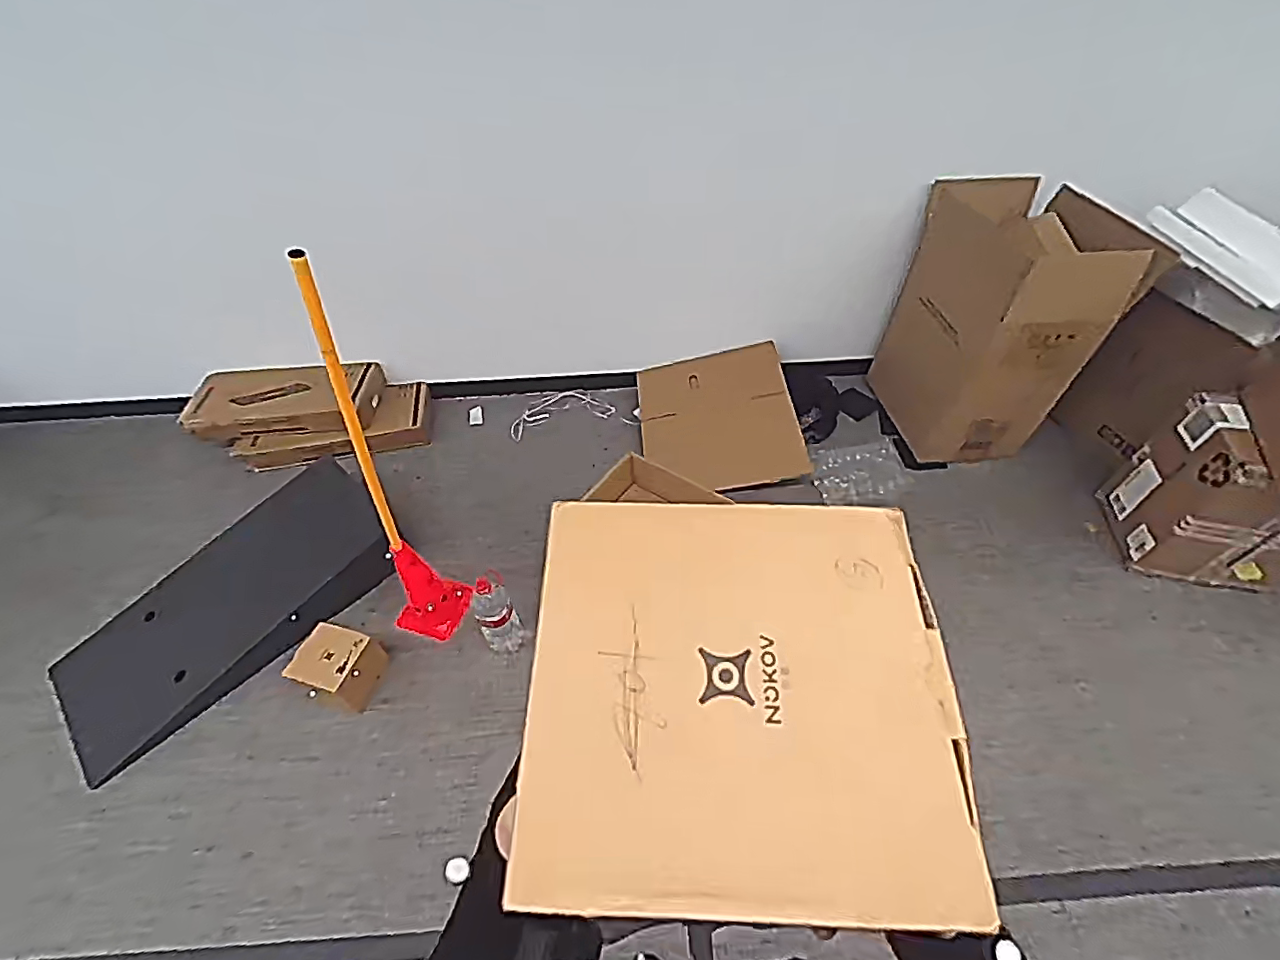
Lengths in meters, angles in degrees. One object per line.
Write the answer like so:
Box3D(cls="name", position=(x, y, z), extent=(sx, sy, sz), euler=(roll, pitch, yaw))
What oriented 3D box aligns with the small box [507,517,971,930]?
Box3D(cls="small box", position=(0.040, 0.132, 0.309), extent=(0.179, 0.176, 0.168), euler=(0, 59, 2))
